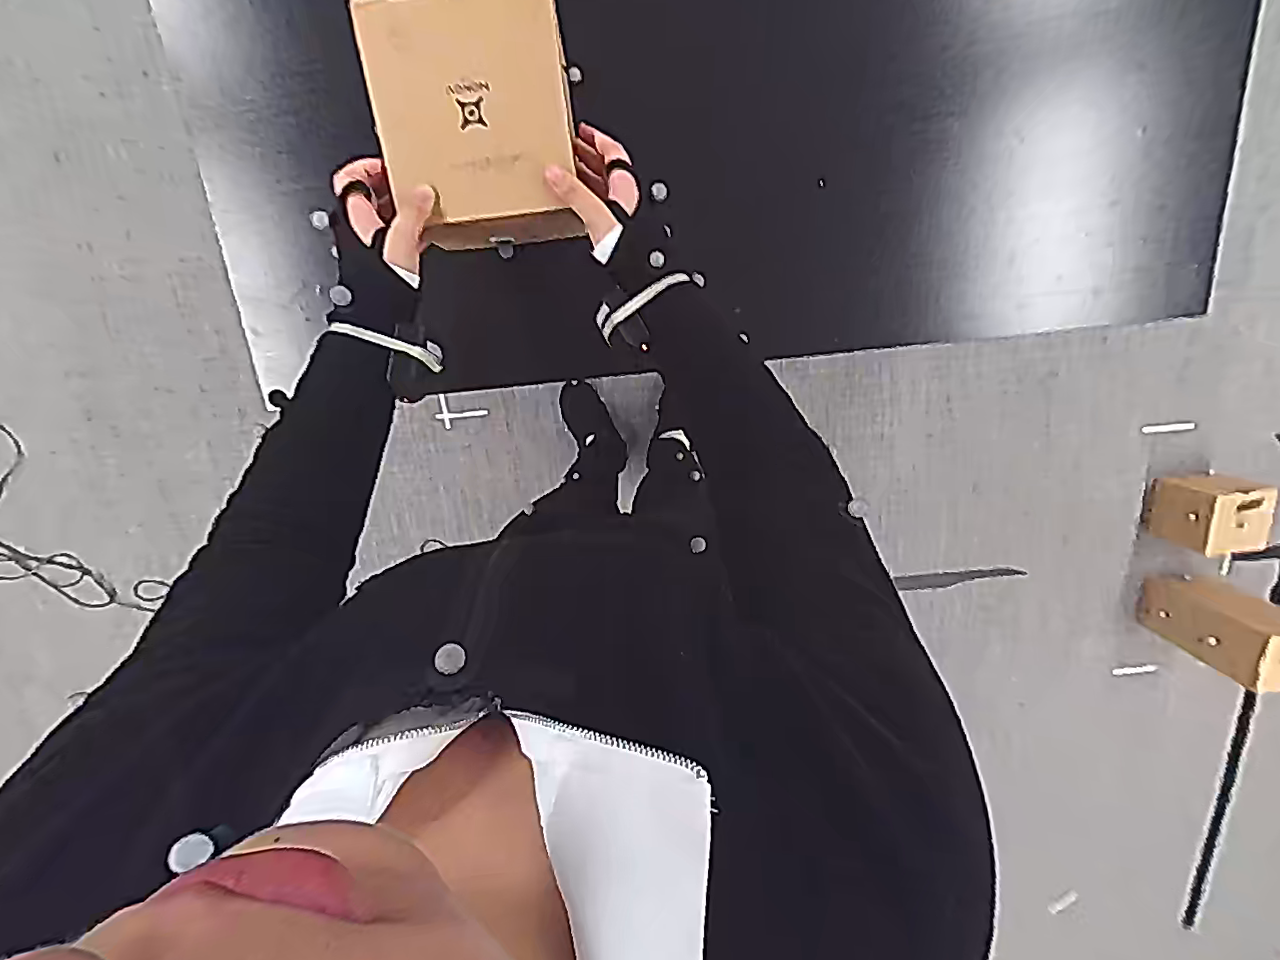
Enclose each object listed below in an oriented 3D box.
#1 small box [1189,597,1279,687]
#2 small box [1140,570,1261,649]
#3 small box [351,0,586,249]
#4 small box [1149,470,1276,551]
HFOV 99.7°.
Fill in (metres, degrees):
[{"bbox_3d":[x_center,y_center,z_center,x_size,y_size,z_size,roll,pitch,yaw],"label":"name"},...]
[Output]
[{"bbox_3d":[1.640,0.422,1.434,0.179,0.176,0.168,-4,106,-1],"label":"small box"},{"bbox_3d":[1.640,0.379,1.595,0.179,0.176,0.168,-6,106,0],"label":"small box"},{"bbox_3d":[-0.150,-0.344,0.541,0.168,0.176,0.179,-8,107,0],"label":"small box"},{"bbox_3d":[1.576,0.078,1.501,0.168,0.176,0.179,-7,107,0],"label":"small box"}]
